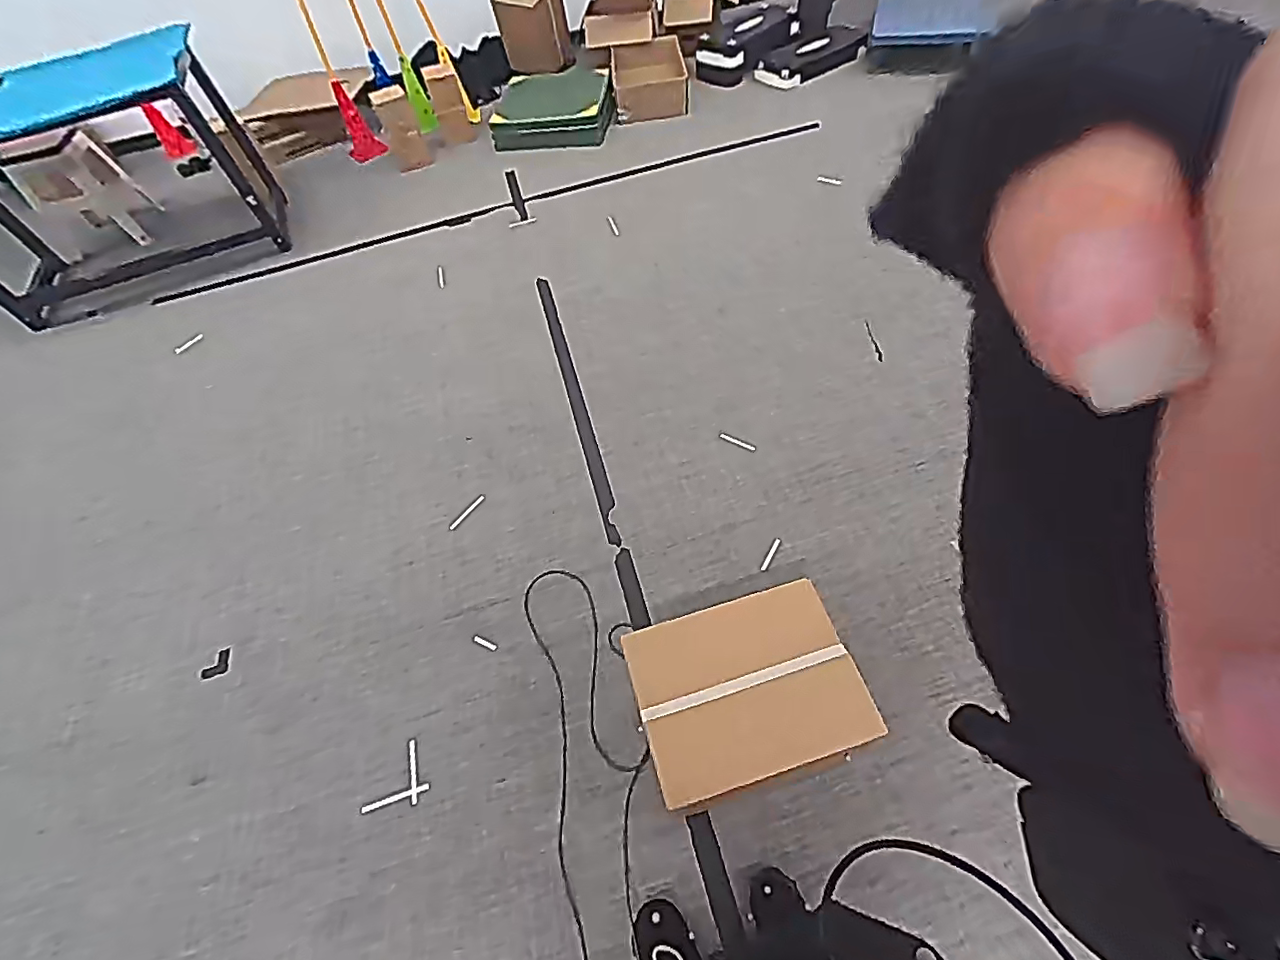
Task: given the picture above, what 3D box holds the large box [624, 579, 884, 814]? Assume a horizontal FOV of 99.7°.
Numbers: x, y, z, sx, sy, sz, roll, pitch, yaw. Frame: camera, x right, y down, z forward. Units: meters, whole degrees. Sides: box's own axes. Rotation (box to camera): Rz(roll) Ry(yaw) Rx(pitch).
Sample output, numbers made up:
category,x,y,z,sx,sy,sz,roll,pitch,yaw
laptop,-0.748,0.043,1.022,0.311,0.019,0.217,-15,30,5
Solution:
category,x,y,z,sx,sy,sz,roll,pitch,yaw
large box,0.213,0.458,1.129,0.408,0.320,0.320,-17,55,-5
